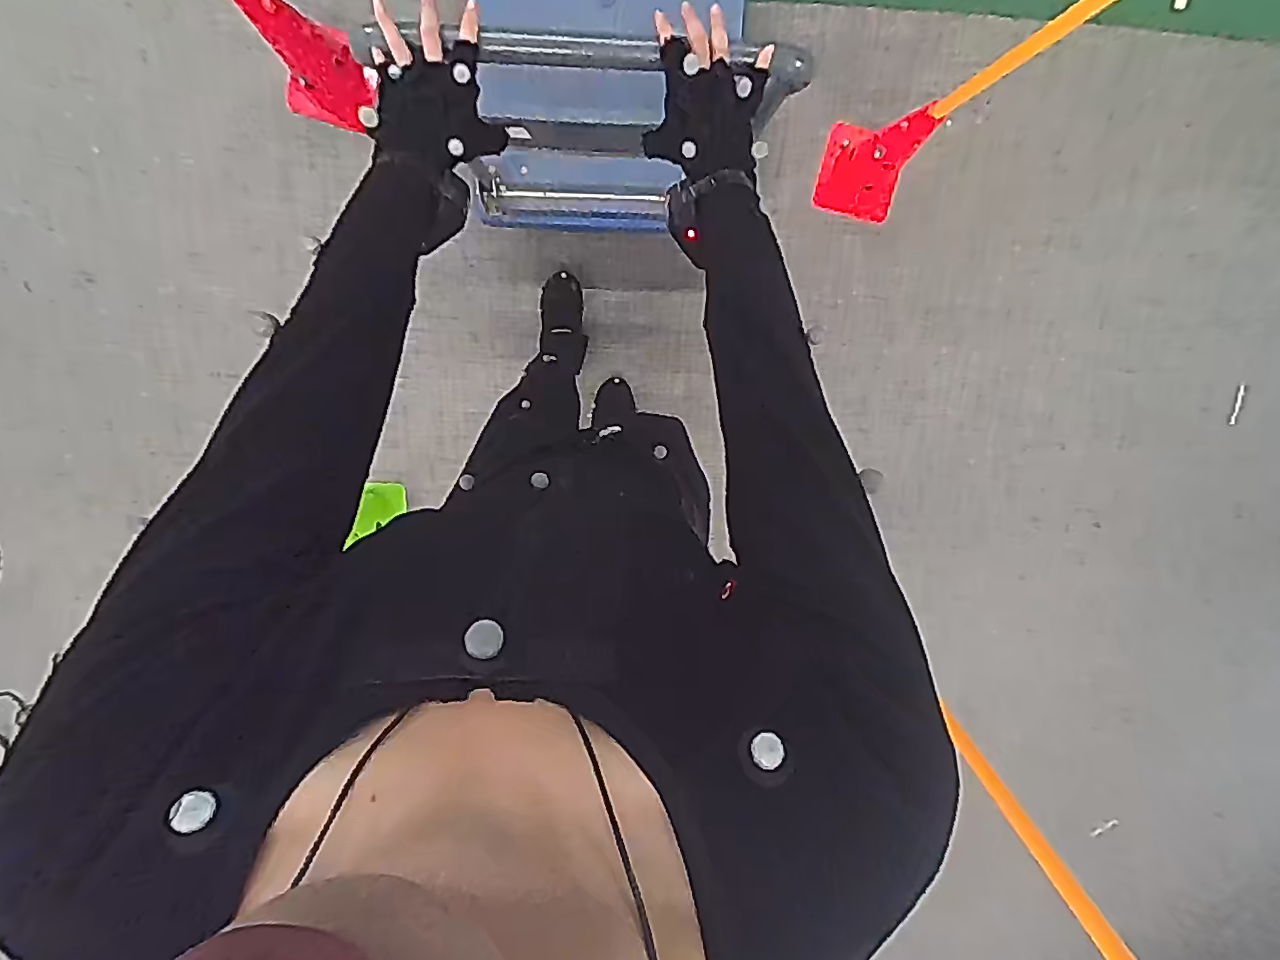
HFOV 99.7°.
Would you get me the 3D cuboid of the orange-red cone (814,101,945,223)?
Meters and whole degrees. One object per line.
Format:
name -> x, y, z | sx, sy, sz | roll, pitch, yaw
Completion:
orange-red cone -> 0.553, -0.726, 1.184 | 0.198, 0.360, 0.199 | 14, 102, -4
